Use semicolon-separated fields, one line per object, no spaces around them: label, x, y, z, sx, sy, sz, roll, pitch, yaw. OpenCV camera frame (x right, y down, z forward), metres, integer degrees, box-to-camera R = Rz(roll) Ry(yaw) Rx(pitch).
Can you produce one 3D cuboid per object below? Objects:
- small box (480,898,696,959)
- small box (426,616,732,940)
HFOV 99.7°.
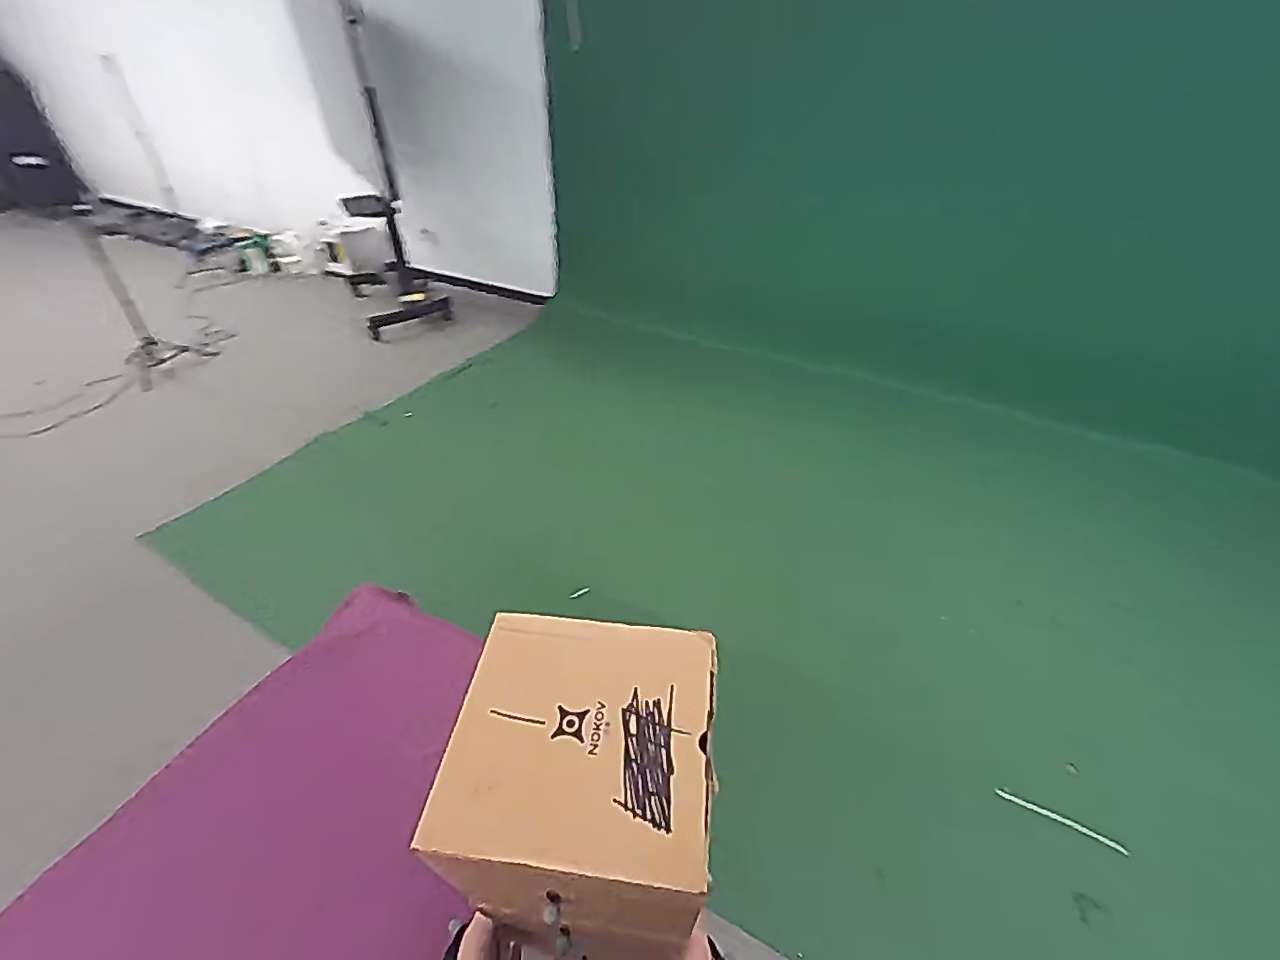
small box;-0.027;0.351;0.529;0.179;0.176;0.168;6;44;8
small box;-0.028;0.230;0.417;0.179;0.176;0.168;5;44;7
